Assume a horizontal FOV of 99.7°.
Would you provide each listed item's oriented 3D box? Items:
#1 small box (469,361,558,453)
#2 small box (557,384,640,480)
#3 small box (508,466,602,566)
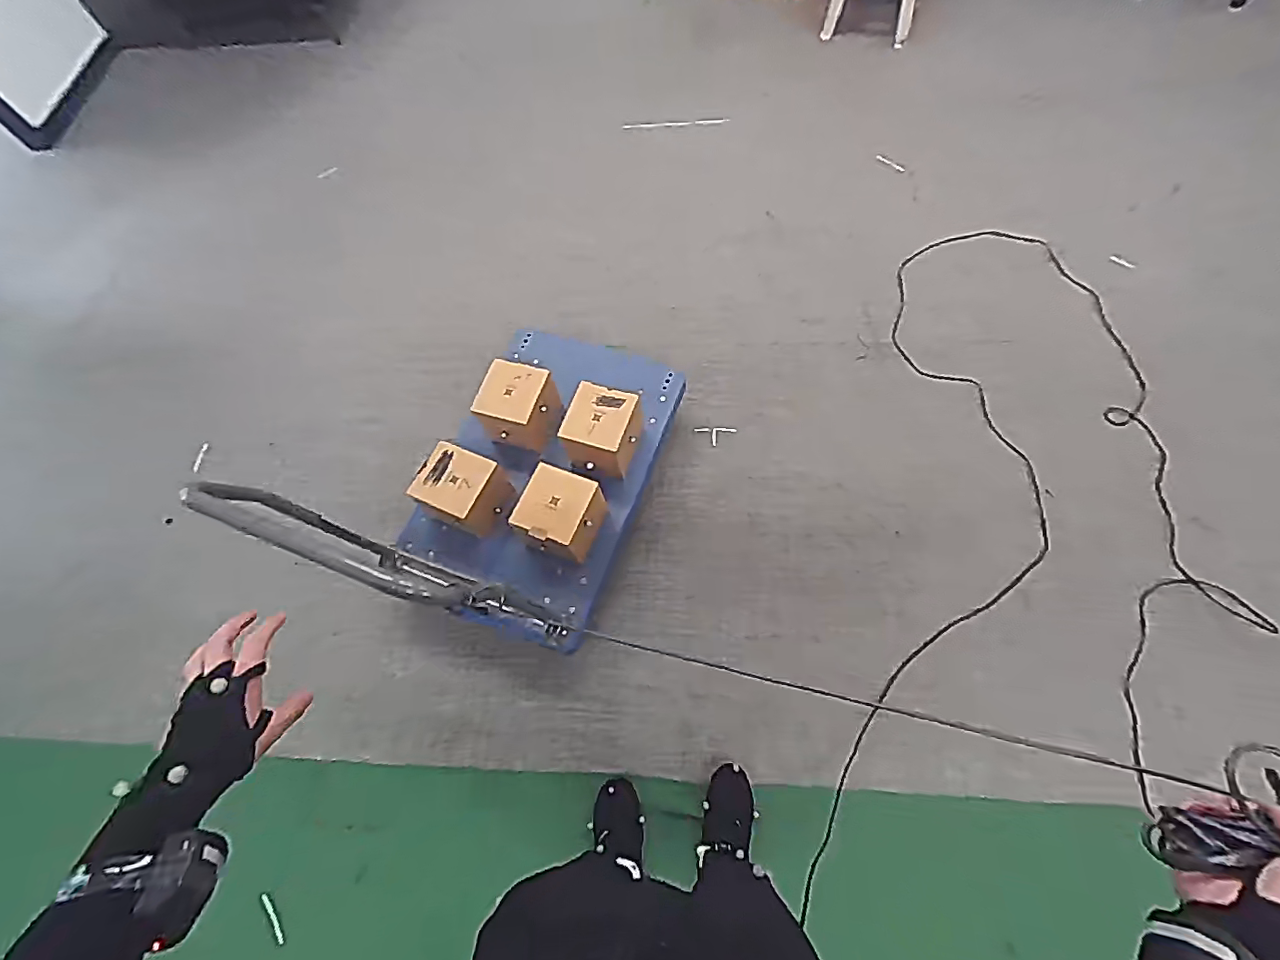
[{"bbox_3d":[-0.343,-0.198,1.509,0.168,0.176,0.179,15,69,10],"label":"small box"},{"bbox_3d":[-0.103,-0.125,1.458,0.168,0.176,0.179,17,70,12],"label":"small box"},{"bbox_3d":[-0.205,0.096,1.371,0.168,0.176,0.179,20,70,13],"label":"small box"}]
